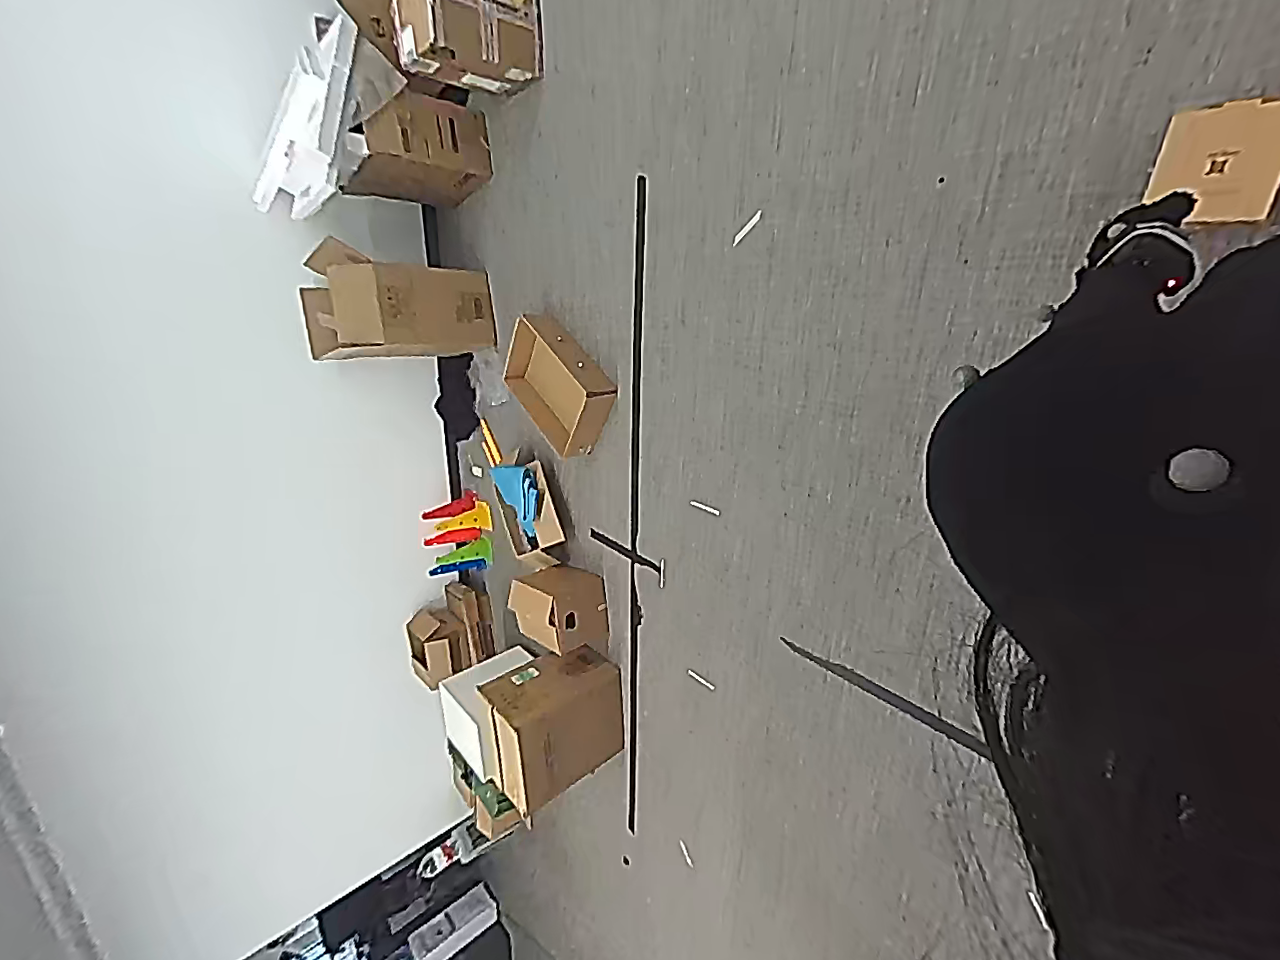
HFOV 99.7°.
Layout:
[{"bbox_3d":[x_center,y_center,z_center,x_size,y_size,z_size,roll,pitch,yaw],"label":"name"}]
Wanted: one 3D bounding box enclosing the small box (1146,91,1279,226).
[{"bbox_3d":[1.021,-0.542,0.930,0.168,0.176,0.179,25,121,45],"label":"small box"}]
